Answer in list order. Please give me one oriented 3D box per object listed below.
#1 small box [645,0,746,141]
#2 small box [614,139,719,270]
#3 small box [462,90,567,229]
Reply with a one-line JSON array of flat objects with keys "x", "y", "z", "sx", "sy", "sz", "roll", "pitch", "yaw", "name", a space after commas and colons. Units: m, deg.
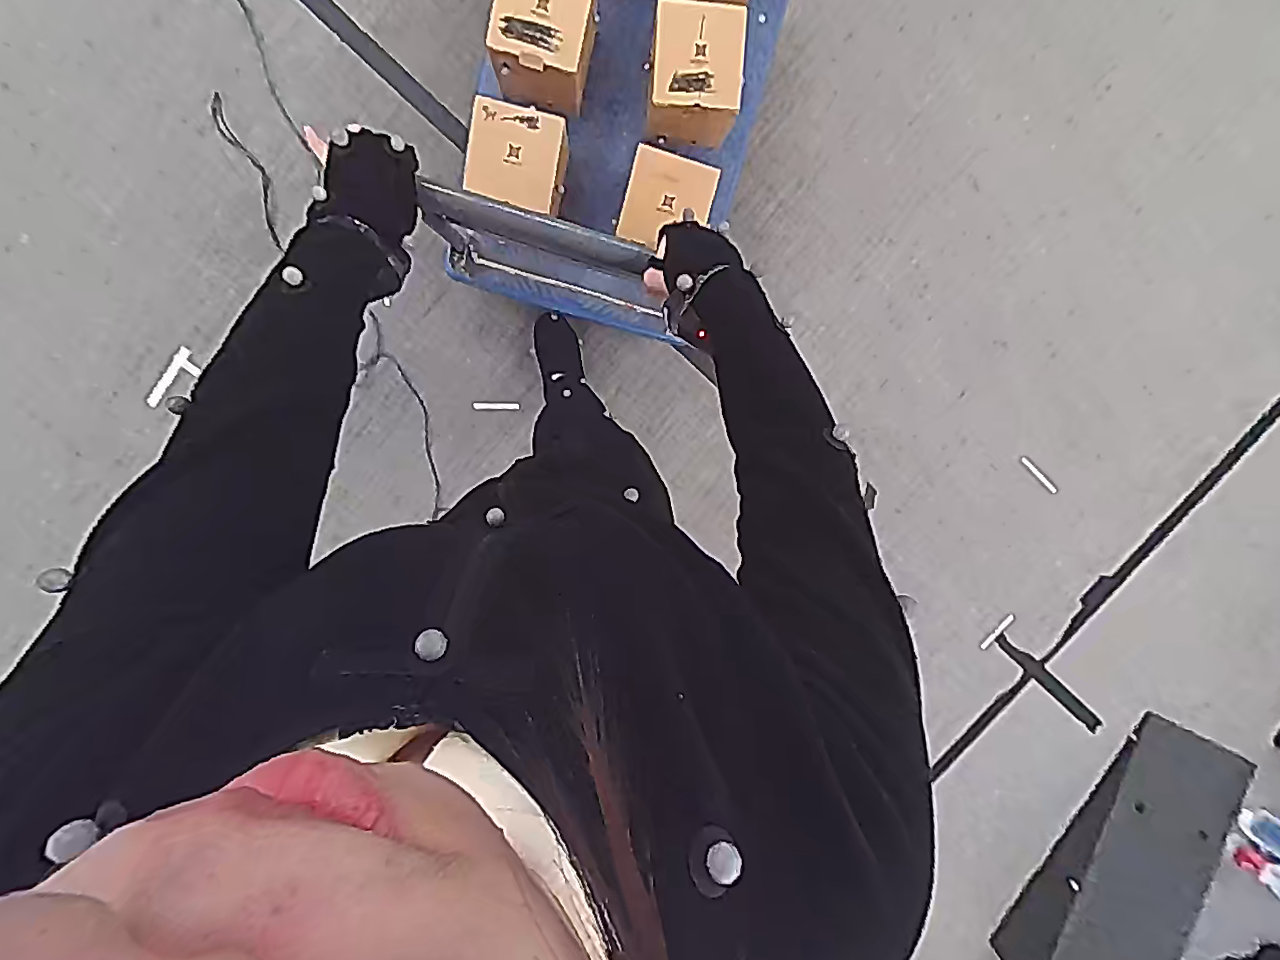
[{"x": 0.101, "y": -0.801, "z": 1.069, "sx": 0.168, "sy": 0.176, "sz": 0.179, "roll": 3, "pitch": 100, "yaw": -5, "name": "small box"}, {"x": 0.046, "y": -0.553, "z": 1.115, "sx": 0.168, "sy": 0.176, "sz": 0.179, "roll": 15, "pitch": 99, "yaw": -8, "name": "small box"}, {"x": -0.241, "y": -0.621, "z": 1.075, "sx": 0.168, "sy": 0.176, "sz": 0.179, "roll": 11, "pitch": 100, "yaw": -8, "name": "small box"}]
